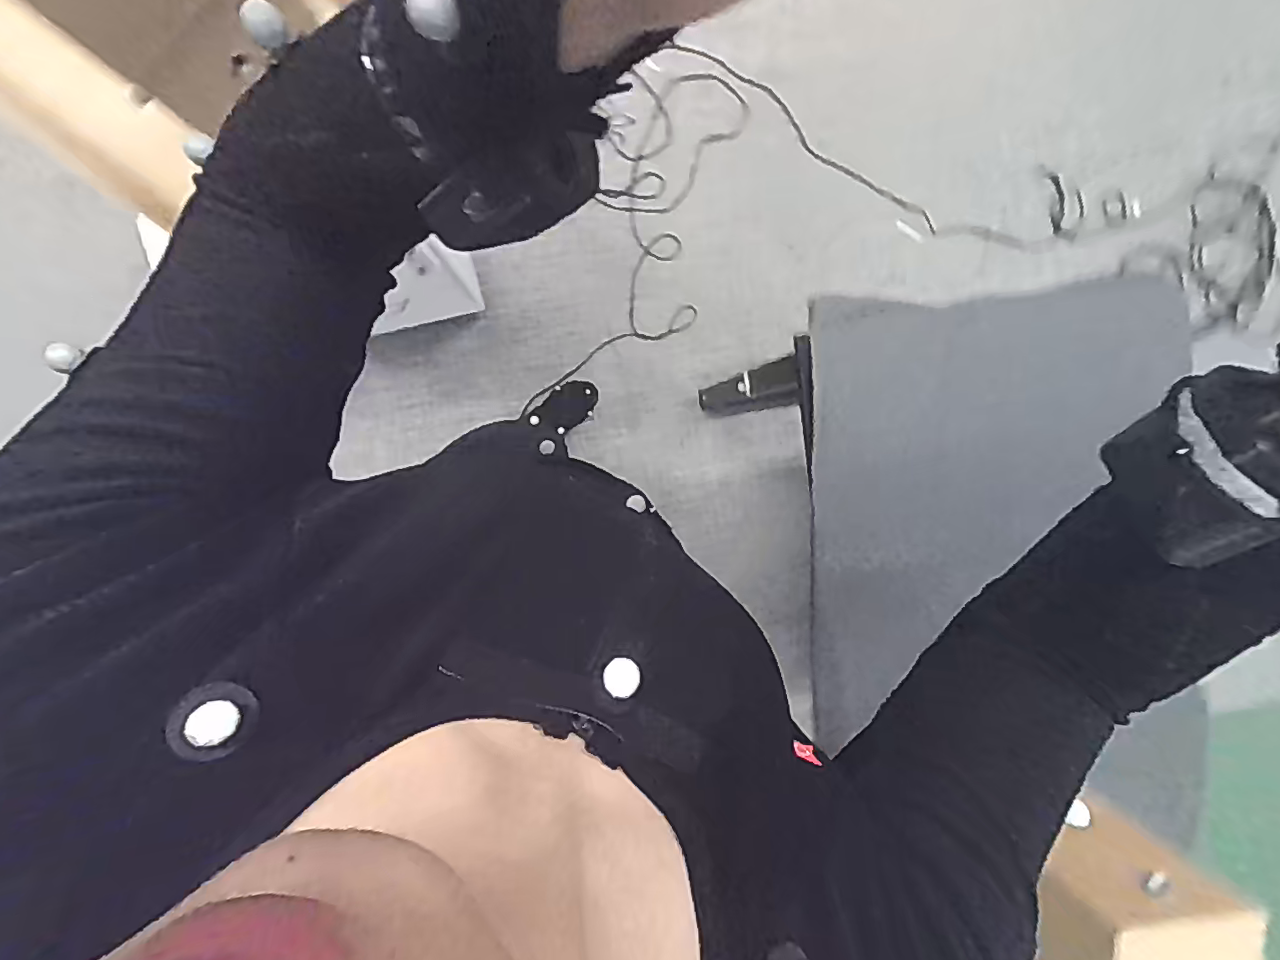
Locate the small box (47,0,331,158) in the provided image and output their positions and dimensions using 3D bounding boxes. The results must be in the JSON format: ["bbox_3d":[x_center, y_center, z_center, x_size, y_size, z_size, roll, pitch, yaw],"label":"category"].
[{"bbox_3d":[-0.439,-0.468,0.521,0.168,0.176,0.179,40,91,-7],"label":"small box"}]
